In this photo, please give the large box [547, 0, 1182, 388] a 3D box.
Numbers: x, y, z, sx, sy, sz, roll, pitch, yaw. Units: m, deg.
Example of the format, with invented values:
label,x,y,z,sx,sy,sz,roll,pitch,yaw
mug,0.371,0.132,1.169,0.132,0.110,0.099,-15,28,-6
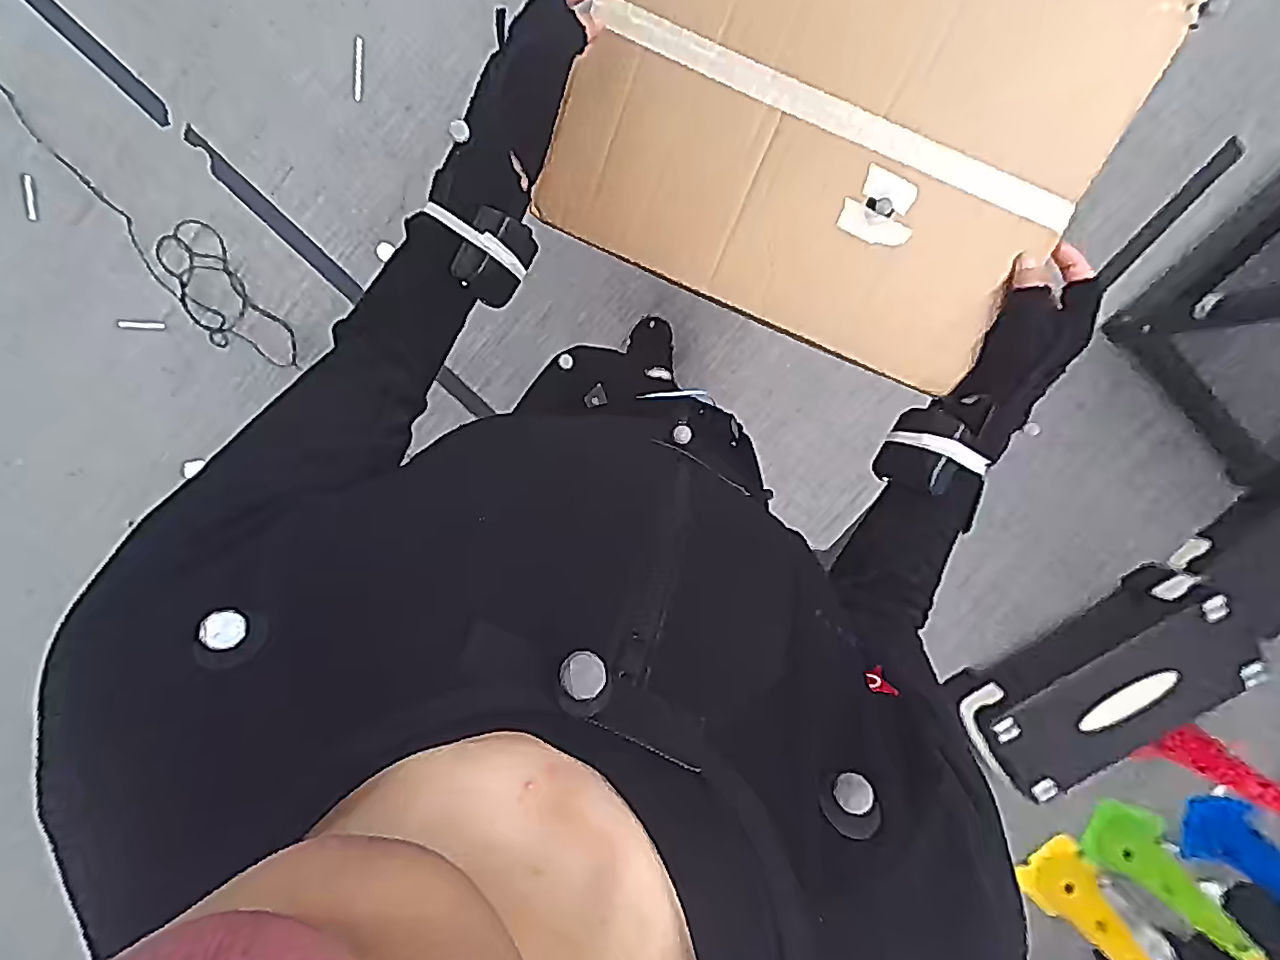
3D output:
label,x,y,z,sx,sy,sz,roll,pitch,yaw
large box,0.167,-0.335,0.572,0.408,0.320,0.320,24,110,-3
